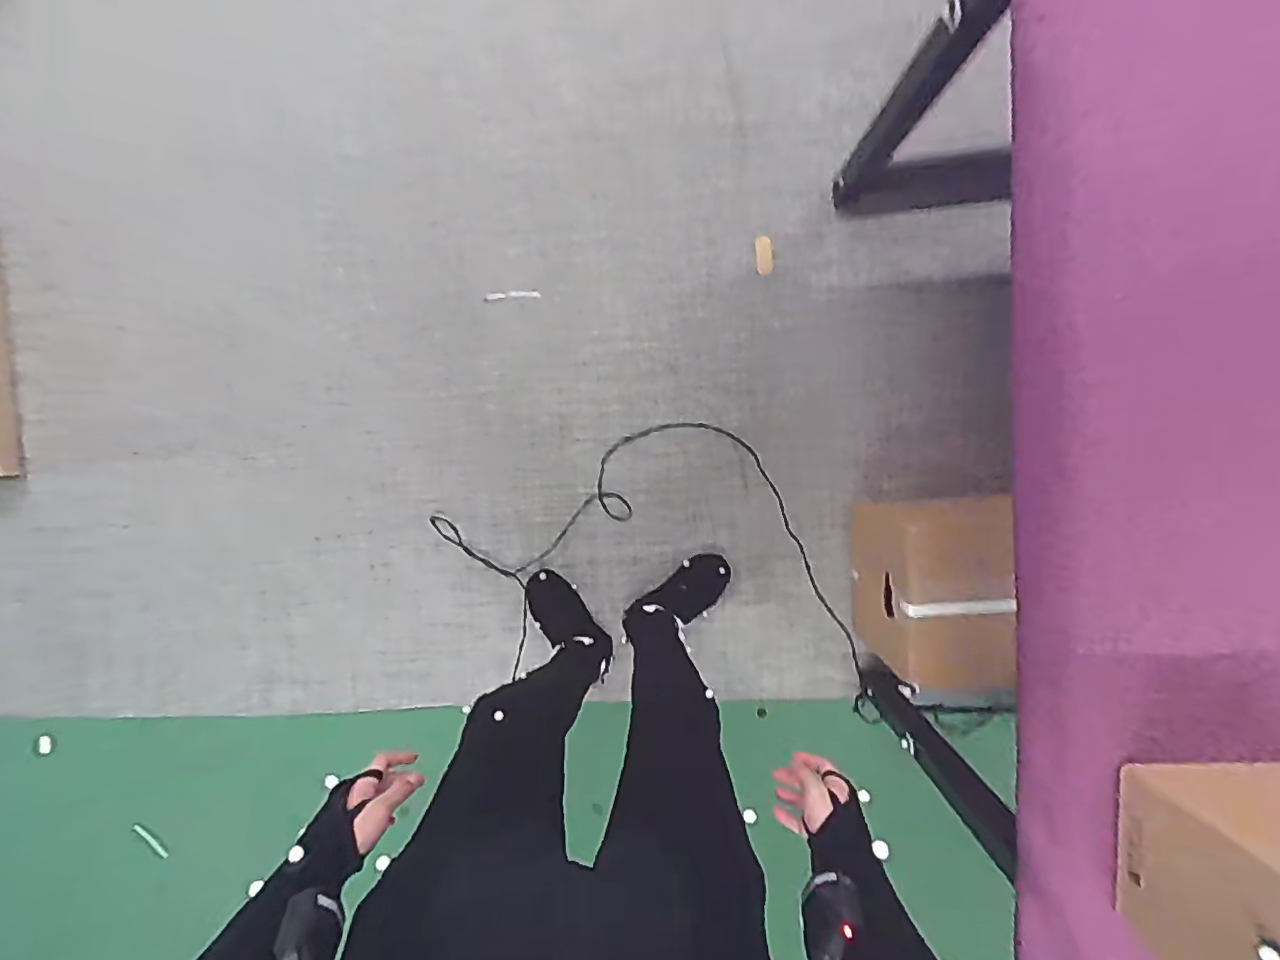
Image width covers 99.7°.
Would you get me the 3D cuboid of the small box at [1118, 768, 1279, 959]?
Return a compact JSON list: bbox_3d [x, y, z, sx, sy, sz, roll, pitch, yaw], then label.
[{"bbox_3d":[0.573,0.372,0.466,0.179,0.176,0.168,-1,92,1],"label":"small box"}]
